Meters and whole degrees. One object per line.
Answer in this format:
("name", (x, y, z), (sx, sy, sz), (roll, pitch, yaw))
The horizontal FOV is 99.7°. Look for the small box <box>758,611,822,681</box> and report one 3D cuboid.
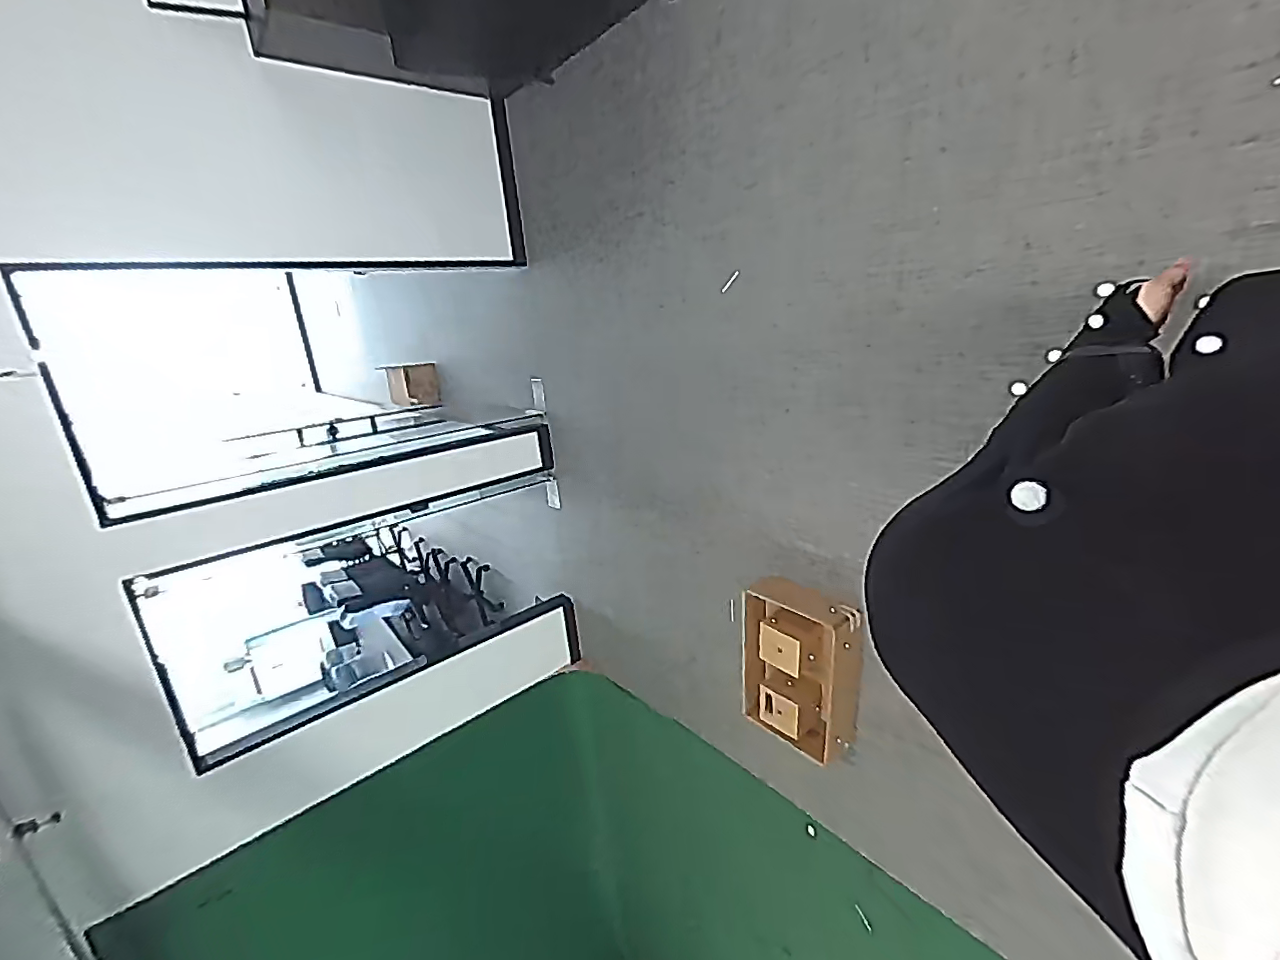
("small box", (0.572, 0.624, 2.062), (0.179, 0.176, 0.168), (18, 118, 47))
